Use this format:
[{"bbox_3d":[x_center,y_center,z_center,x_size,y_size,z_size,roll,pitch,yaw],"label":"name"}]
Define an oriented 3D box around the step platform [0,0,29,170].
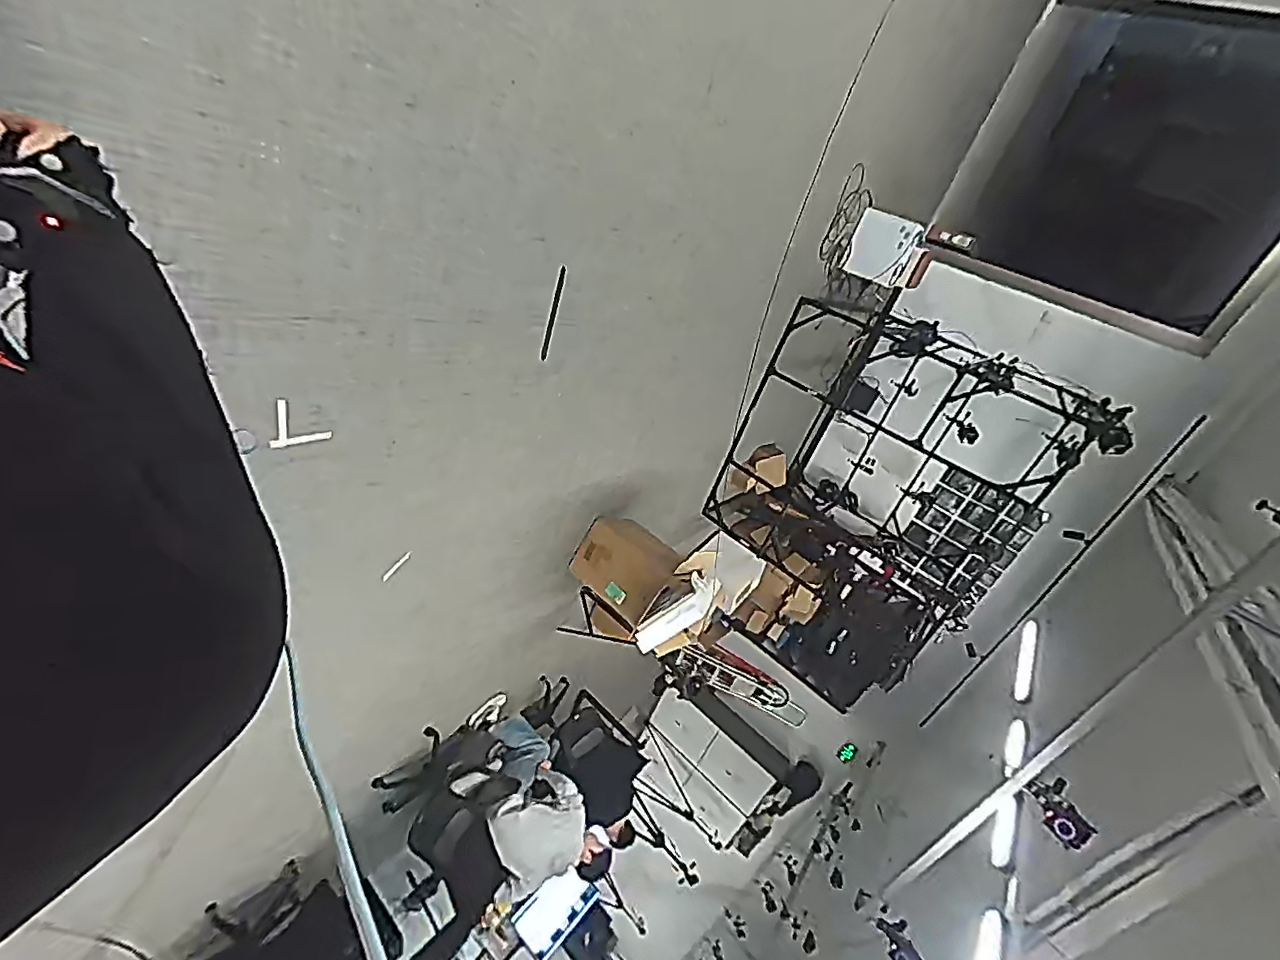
[{"bbox_3d":[-1.191,-0.605,0.598,0.684,0.204,0.286,-14,132,-55],"label":"step platform"}]
